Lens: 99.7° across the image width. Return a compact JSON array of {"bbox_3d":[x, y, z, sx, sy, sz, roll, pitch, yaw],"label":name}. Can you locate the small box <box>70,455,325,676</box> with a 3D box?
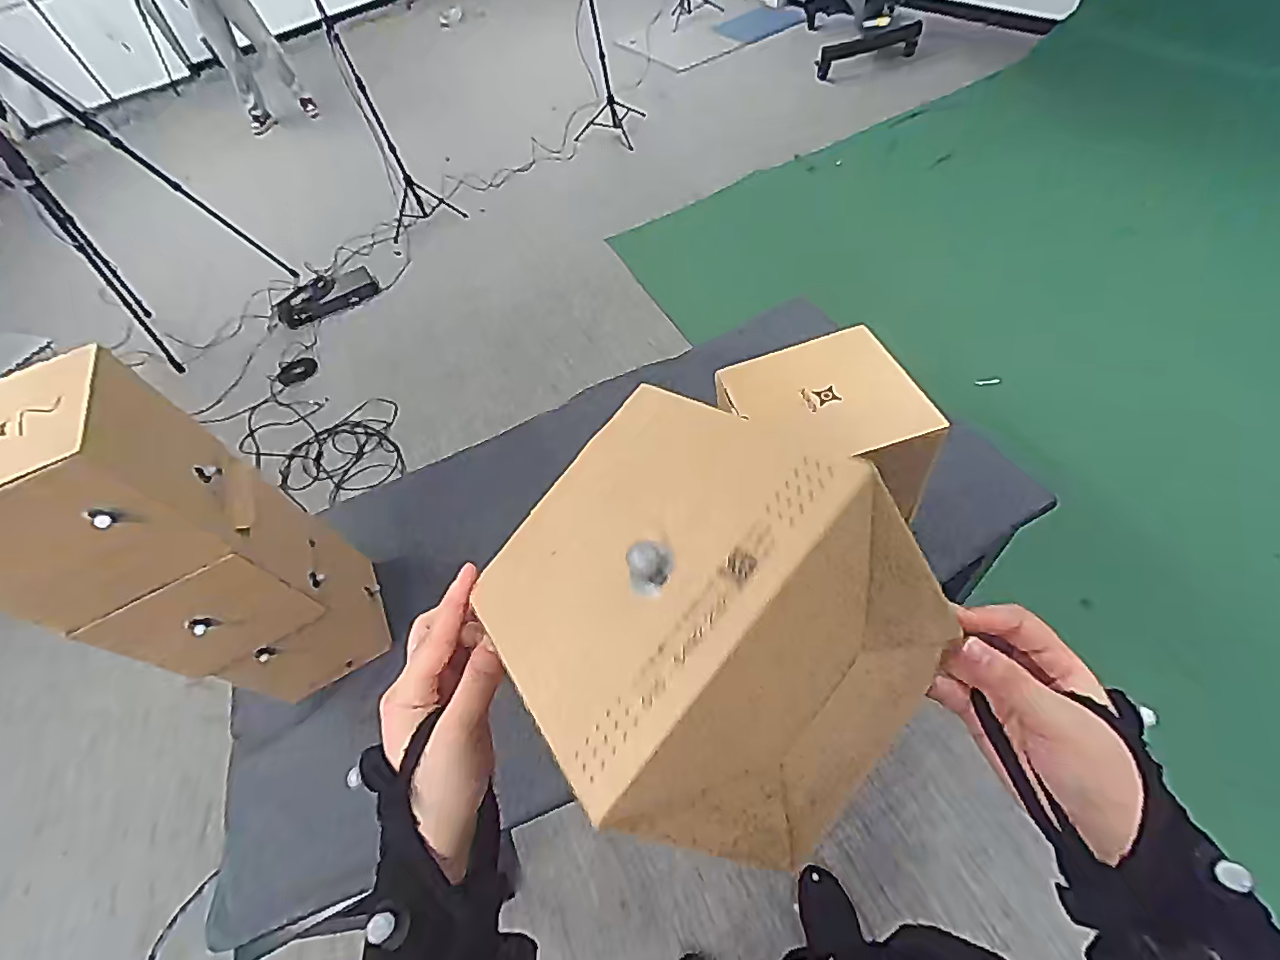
[{"bbox_3d":[-0.515,0.108,0.659,0.179,0.176,0.168,-29,55,-9],"label":"small box"}]

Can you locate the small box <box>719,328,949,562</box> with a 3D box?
[{"bbox_3d":[0.200,-0.034,0.606,0.179,0.176,0.168,-18,52,1],"label":"small box"}]

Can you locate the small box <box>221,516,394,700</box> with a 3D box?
[{"bbox_3d":[-0.496,0.192,0.800,0.168,0.176,0.179,-29,54,-10],"label":"small box"}]
